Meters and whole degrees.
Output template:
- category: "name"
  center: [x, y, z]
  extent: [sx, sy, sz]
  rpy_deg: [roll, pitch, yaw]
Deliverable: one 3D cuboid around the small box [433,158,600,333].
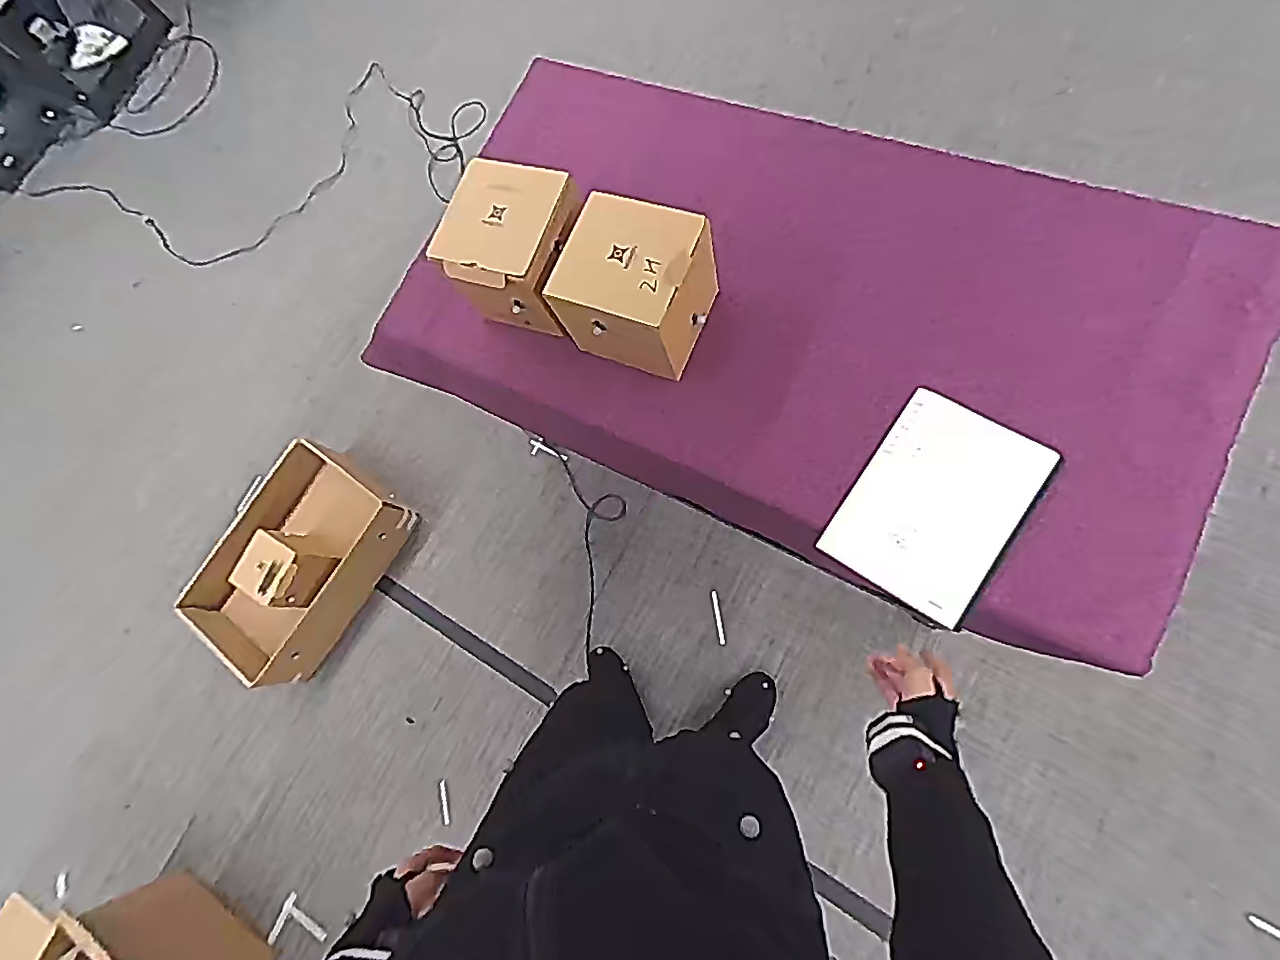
- category: "small box"
  center: [-0.178, -0.354, 0.841]
  extent: [0.168, 0.176, 0.179]
  rpy_deg: [18, 81, 15]
